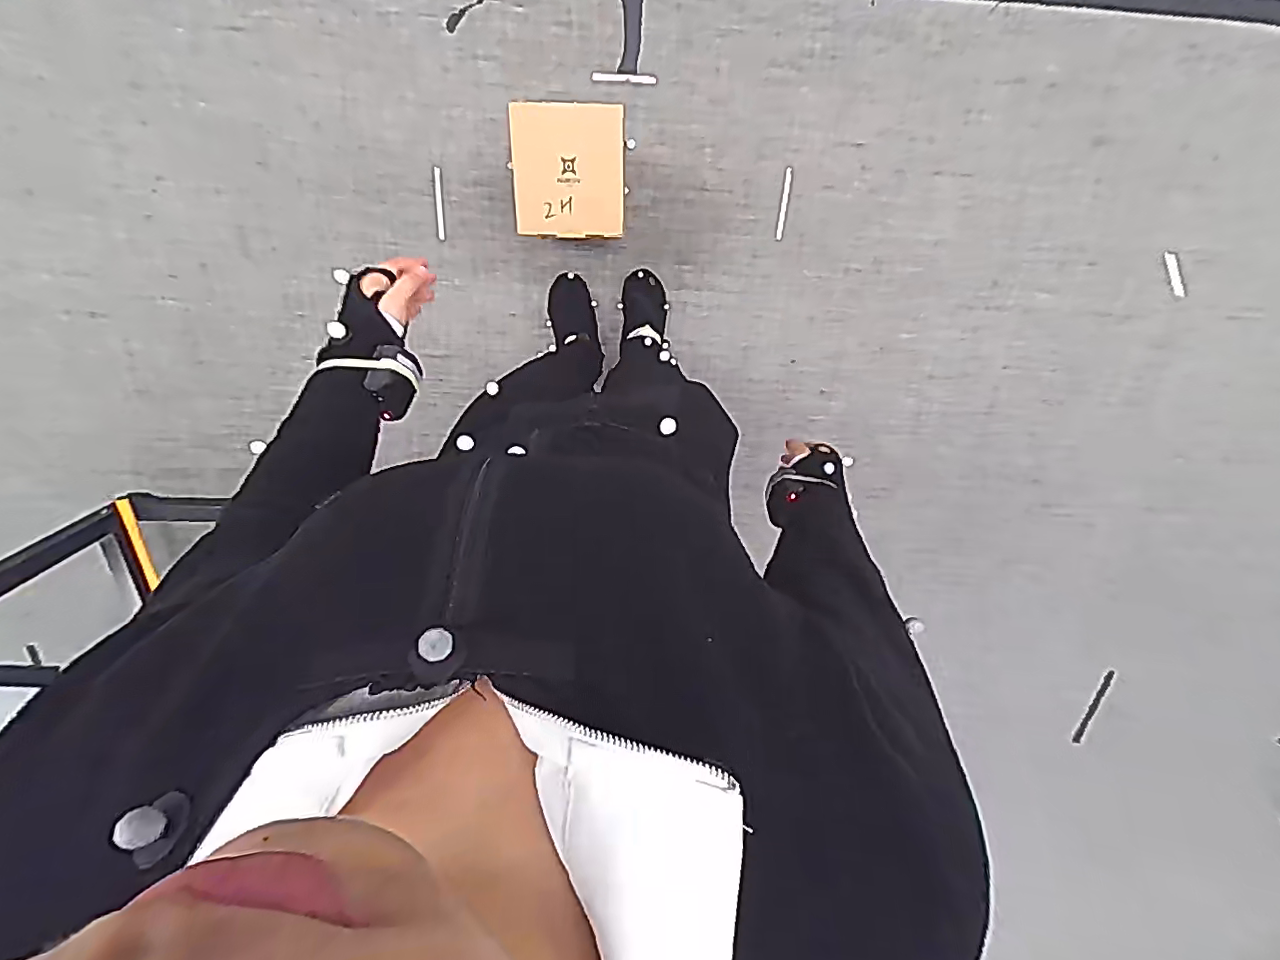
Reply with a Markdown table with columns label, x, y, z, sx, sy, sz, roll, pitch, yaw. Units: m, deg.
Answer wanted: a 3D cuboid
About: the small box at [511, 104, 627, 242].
| label | x | y | z | sx | sy | sz | roll | pitch | yaw |
| --- | --- | --- | --- | --- | --- | --- | --- | --- | --- |
| small box | -0.106 | -0.485 | 0.875 | 0.168 | 0.176 | 0.179 | 1 | 115 | -1 |
